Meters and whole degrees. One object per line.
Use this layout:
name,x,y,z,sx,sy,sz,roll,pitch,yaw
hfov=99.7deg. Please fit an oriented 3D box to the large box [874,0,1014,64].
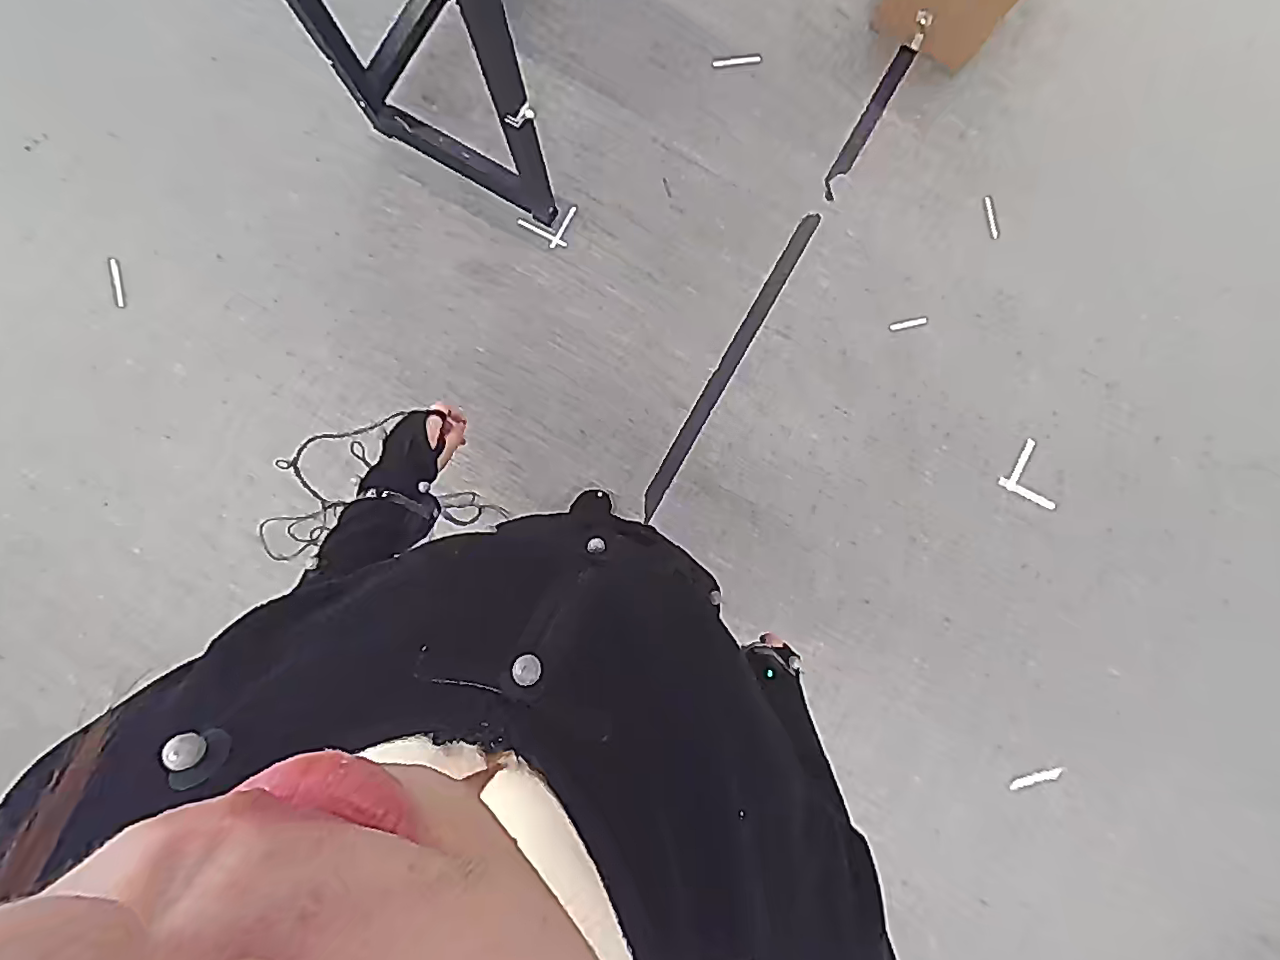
large box,0.894,-1.433,1.410,0.320,0.320,0.408,31,88,-1
